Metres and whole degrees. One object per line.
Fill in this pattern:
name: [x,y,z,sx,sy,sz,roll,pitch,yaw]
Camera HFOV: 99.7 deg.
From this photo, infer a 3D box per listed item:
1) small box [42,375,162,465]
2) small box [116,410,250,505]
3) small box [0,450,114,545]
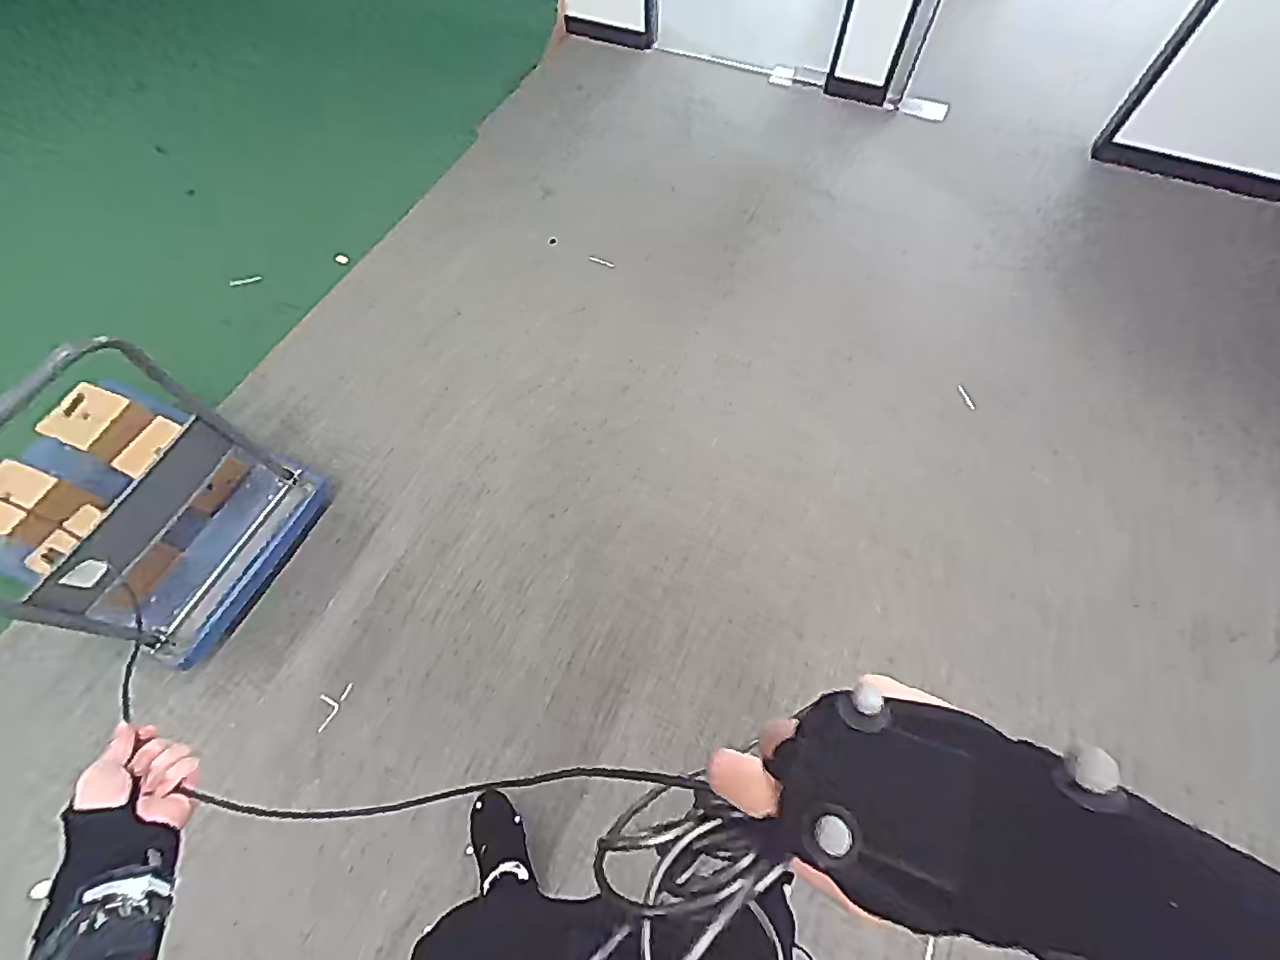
small box: [-1.469,-0.159,1.514,0.179,0.176,0.168,20,67,8]
small box: [-1.225,-0.054,1.463,0.179,0.176,0.168,24,67,11]
small box: [-1.561,0.053,1.414,0.179,0.176,0.168,20,65,10]
